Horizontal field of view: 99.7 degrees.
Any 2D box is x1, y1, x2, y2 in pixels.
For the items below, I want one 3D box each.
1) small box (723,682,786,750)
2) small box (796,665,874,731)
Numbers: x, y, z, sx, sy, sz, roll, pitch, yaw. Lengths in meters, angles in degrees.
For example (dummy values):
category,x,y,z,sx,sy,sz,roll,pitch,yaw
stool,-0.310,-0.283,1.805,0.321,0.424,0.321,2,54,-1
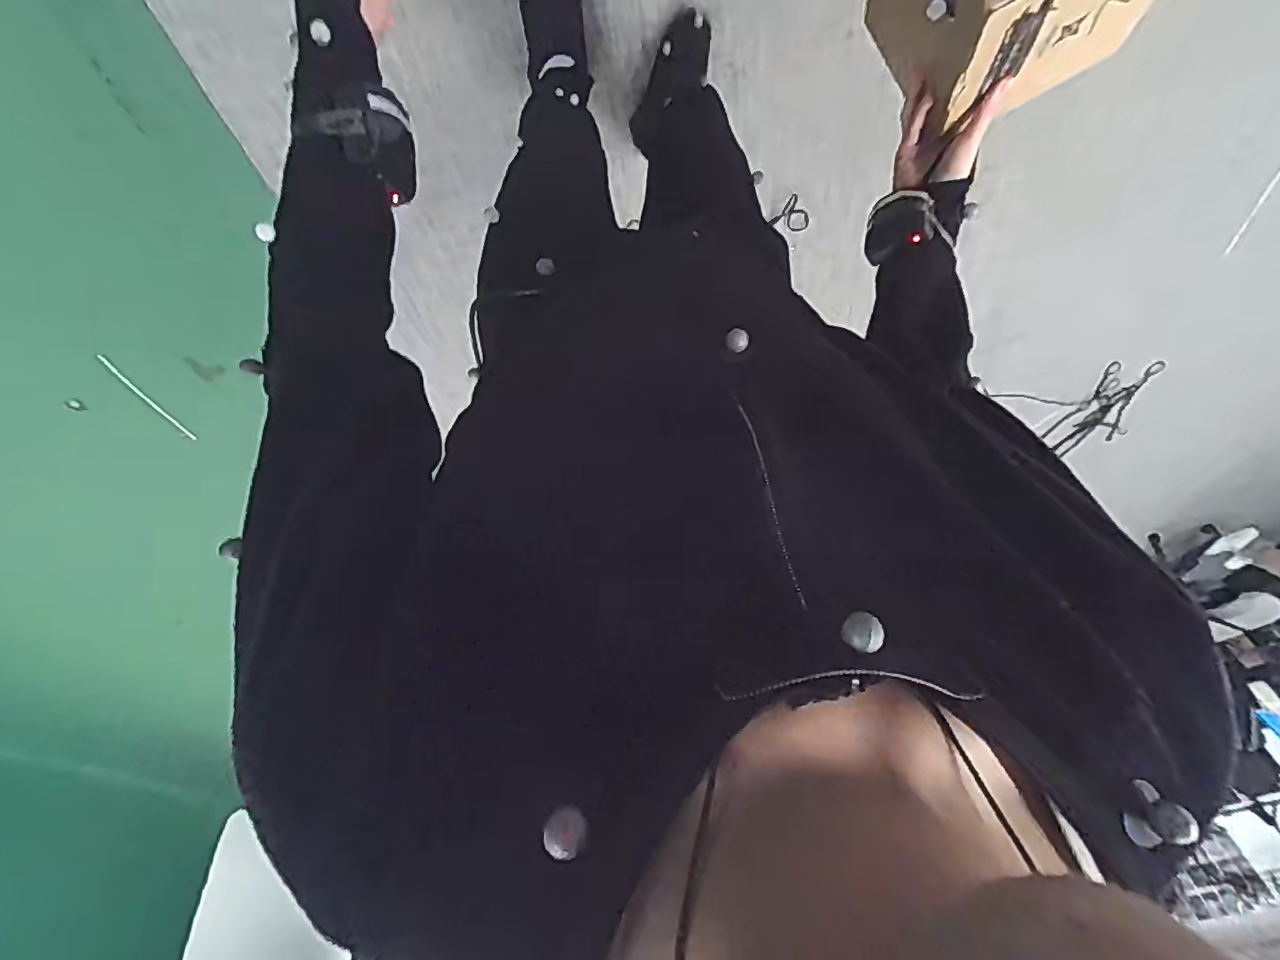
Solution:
category,x,y,z,sx,sy,sz,roll,pitch,yaw
small box,0.384,0.805,1.839,0.168,0.176,0.179,-12,141,-1
small box,0.659,0.750,1.837,0.179,0.176,0.168,-29,137,19
